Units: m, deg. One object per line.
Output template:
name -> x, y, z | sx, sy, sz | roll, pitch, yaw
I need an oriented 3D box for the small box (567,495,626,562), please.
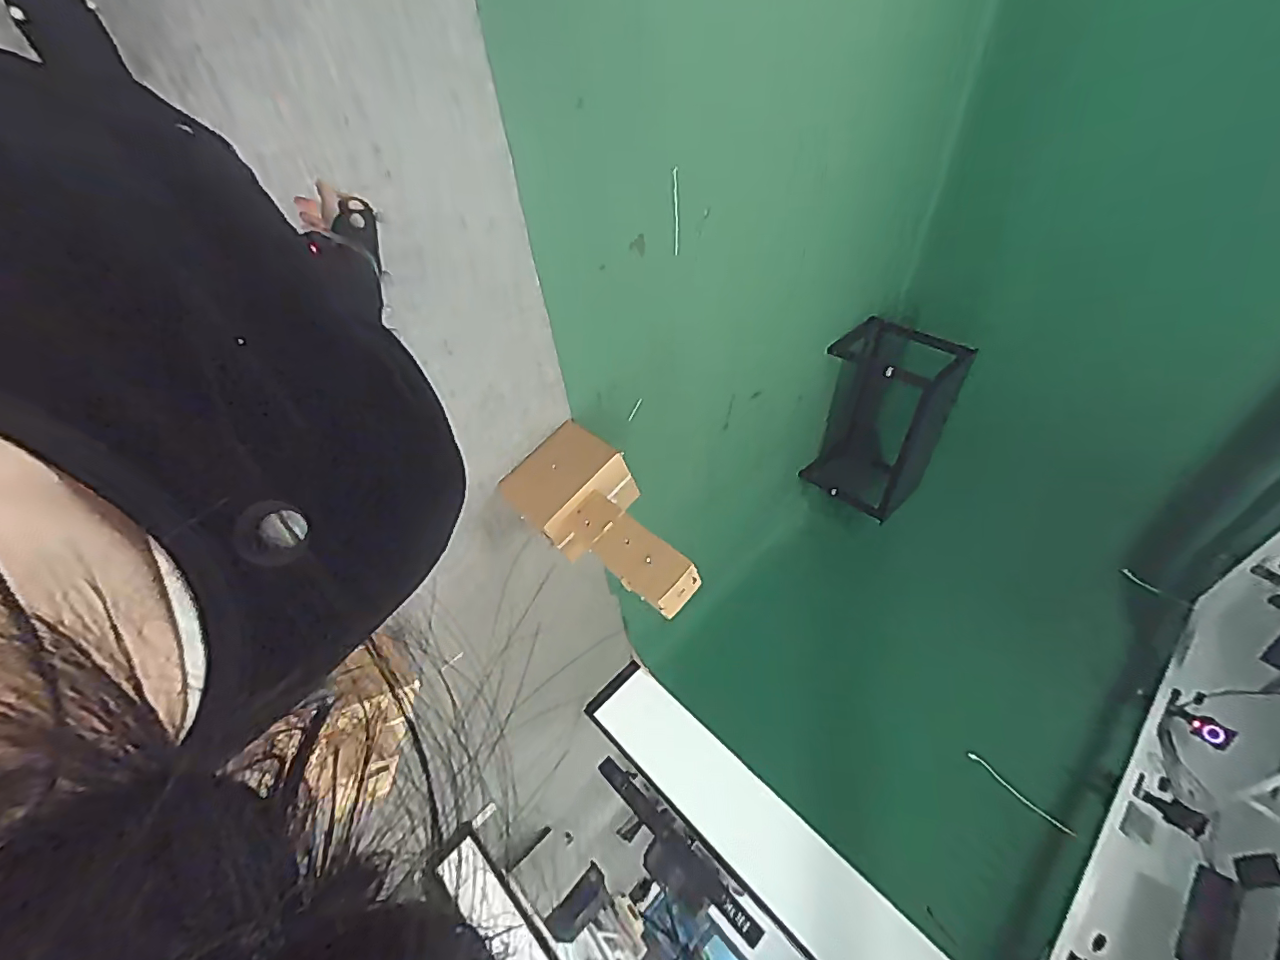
small box -> -0.145, 0.178, 2.014 | 0.168, 0.176, 0.179 | -45, 146, -15

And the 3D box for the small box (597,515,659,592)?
small box -> -0.033, 0.260, 1.926 | 0.179, 0.176, 0.168 | -46, 145, -14

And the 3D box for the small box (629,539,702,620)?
small box -> 0.083, 0.337, 1.838 | 0.179, 0.176, 0.168 | -45, 145, -14

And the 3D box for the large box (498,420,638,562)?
large box -> -0.283, 0.042, 2.168 | 0.408, 0.320, 0.320 | -47, 147, -16
